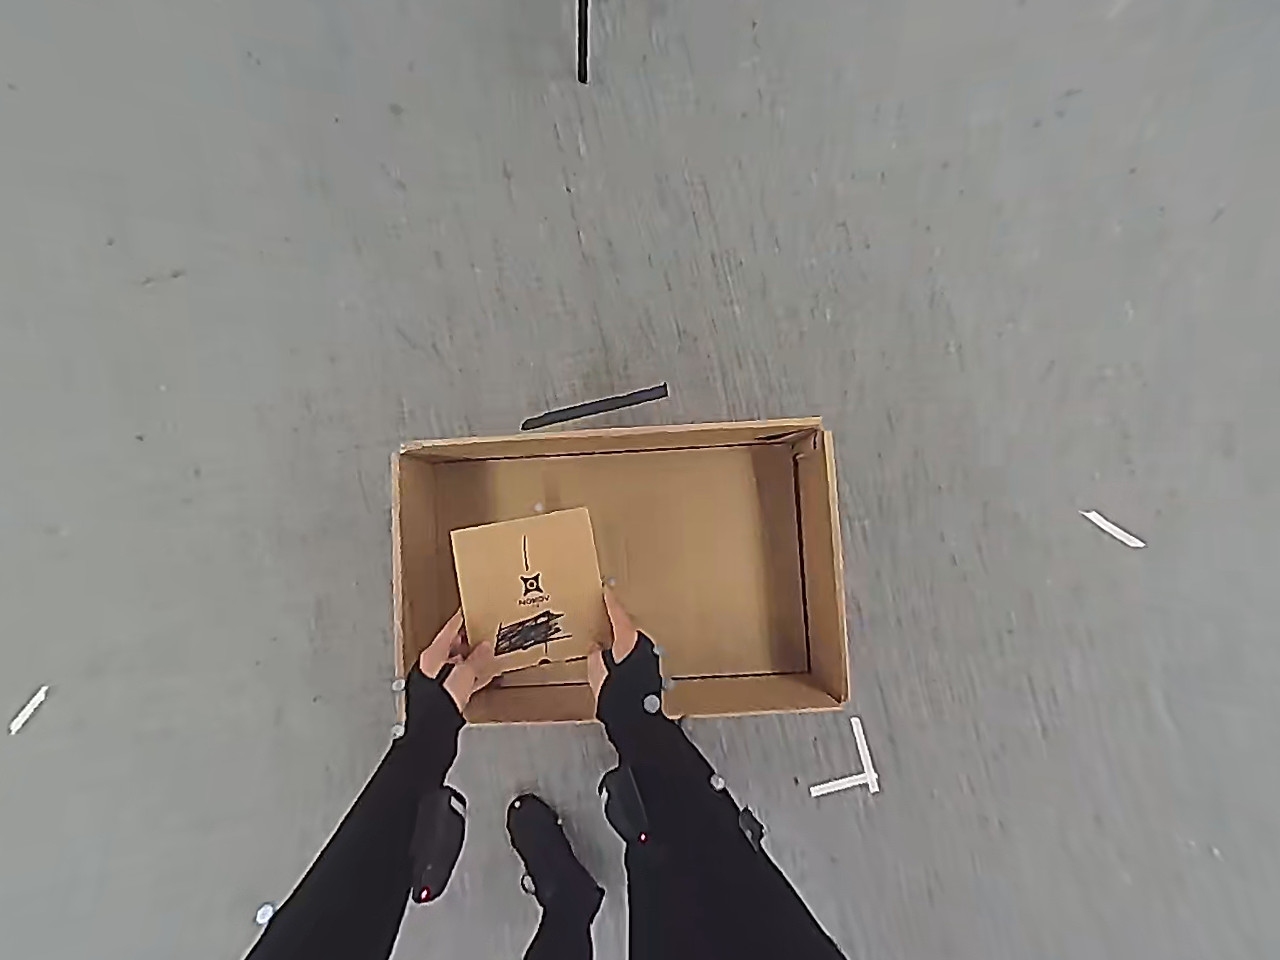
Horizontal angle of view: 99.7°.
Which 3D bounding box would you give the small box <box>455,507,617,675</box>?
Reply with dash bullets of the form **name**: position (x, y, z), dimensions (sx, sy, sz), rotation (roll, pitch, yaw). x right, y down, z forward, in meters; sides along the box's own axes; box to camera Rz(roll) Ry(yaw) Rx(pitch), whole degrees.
- **small box**: position (-0.125, 0.133, 0.712), dimensions (0.168, 0.176, 0.179), rotation (-10, 87, -1)
